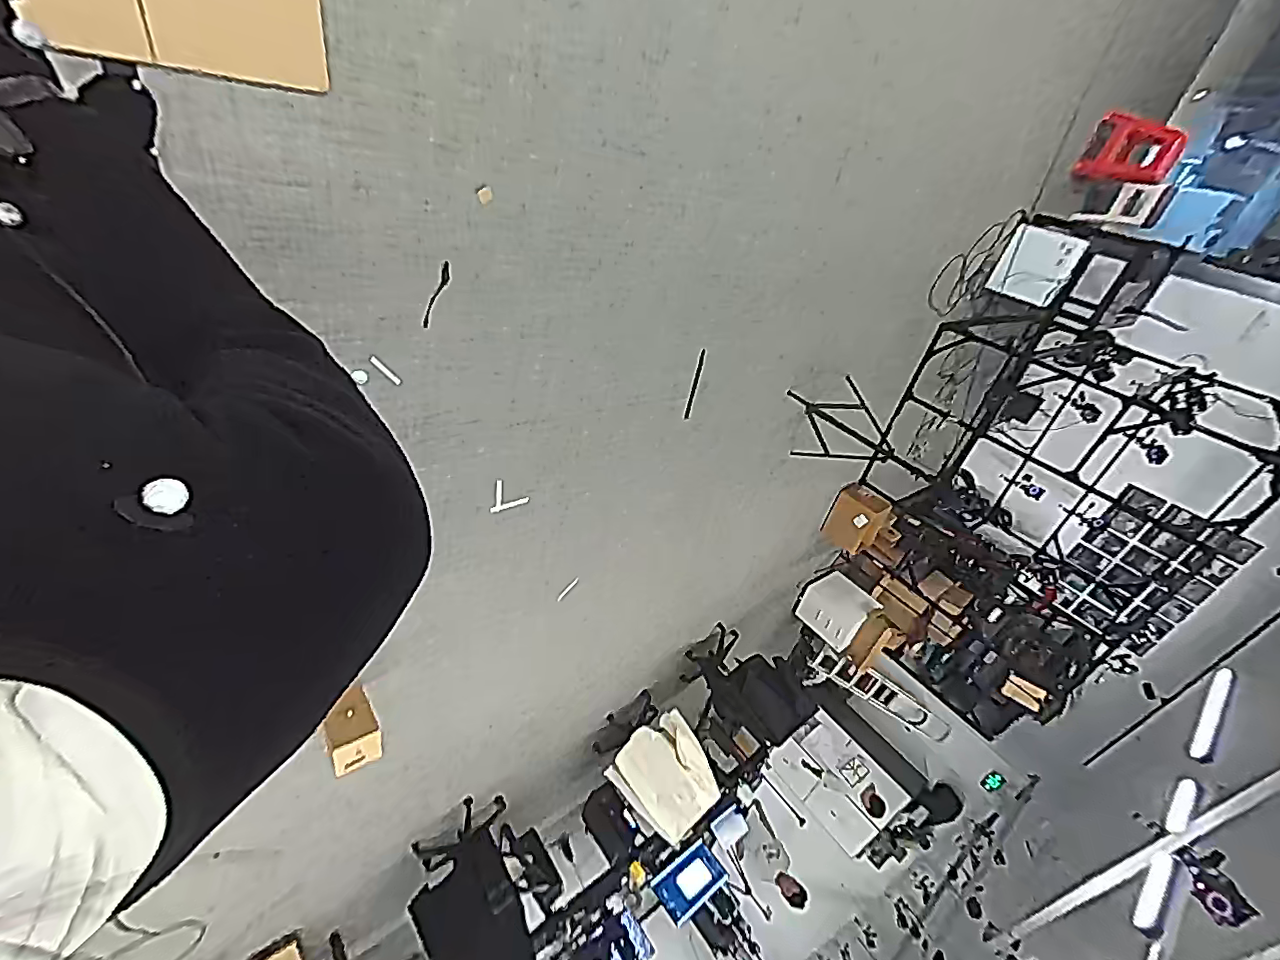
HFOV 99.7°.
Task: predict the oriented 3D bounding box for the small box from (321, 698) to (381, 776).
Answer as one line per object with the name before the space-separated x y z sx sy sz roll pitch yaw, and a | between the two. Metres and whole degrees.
small box | -1.100 0.974 2.060 0.168 0.176 0.179 -15 132 -38
